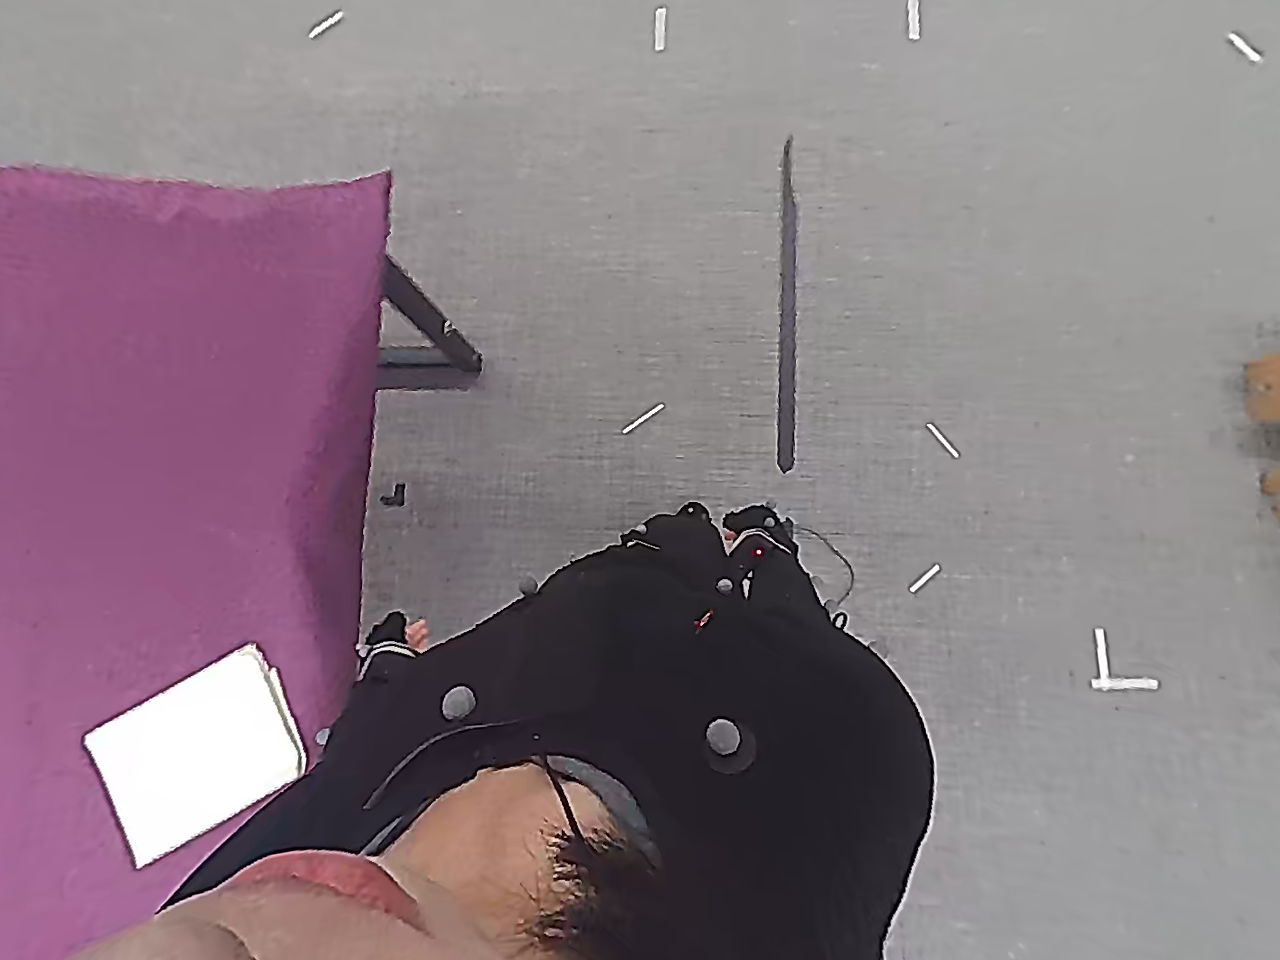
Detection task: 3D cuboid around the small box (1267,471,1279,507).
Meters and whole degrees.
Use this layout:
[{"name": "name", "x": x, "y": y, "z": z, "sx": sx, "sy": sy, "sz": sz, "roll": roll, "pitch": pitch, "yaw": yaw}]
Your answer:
[{"name": "small box", "x": 1.838, "y": 0.027, "z": 1.412, "sx": 0.179, "sy": 0.176, "sz": 0.168, "roll": -17, "pitch": 81, "yaw": 0}]

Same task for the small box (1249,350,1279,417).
[{"name": "small box", "x": 1.815, "y": -0.267, "z": 1.453, "sx": 0.168, "sy": 0.176, "sz": 0.179, "roll": 0, "pitch": 82, "yaw": 2}]
